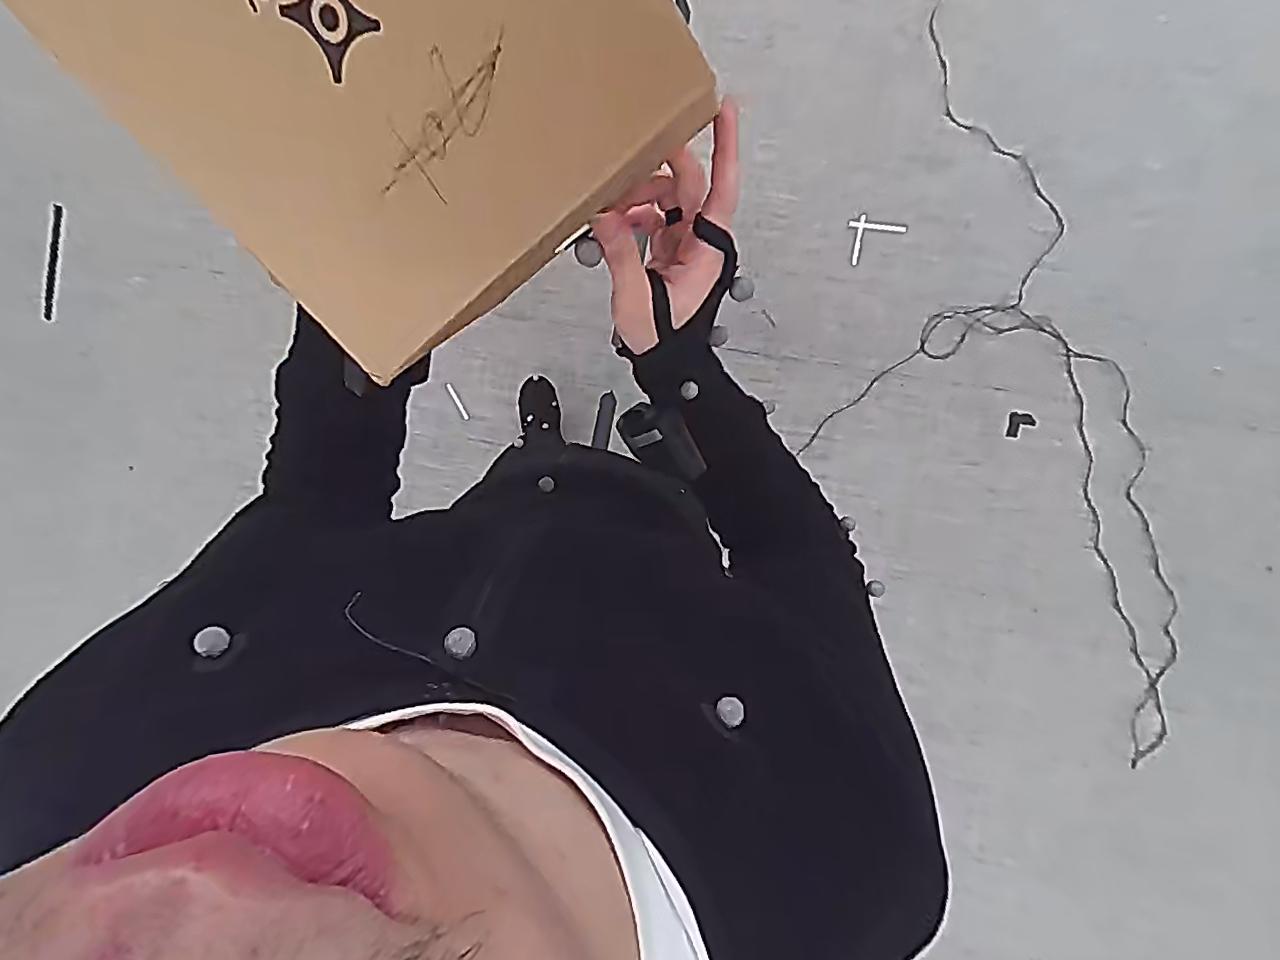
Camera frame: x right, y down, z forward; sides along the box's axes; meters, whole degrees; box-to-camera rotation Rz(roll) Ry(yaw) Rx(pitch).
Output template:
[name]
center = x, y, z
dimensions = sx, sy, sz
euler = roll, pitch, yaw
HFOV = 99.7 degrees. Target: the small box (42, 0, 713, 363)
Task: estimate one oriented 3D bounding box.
[small box]
center = -0.082, -0.187, 0.239
dimensions = 0.168, 0.176, 0.179
euler = -30, 112, 24
